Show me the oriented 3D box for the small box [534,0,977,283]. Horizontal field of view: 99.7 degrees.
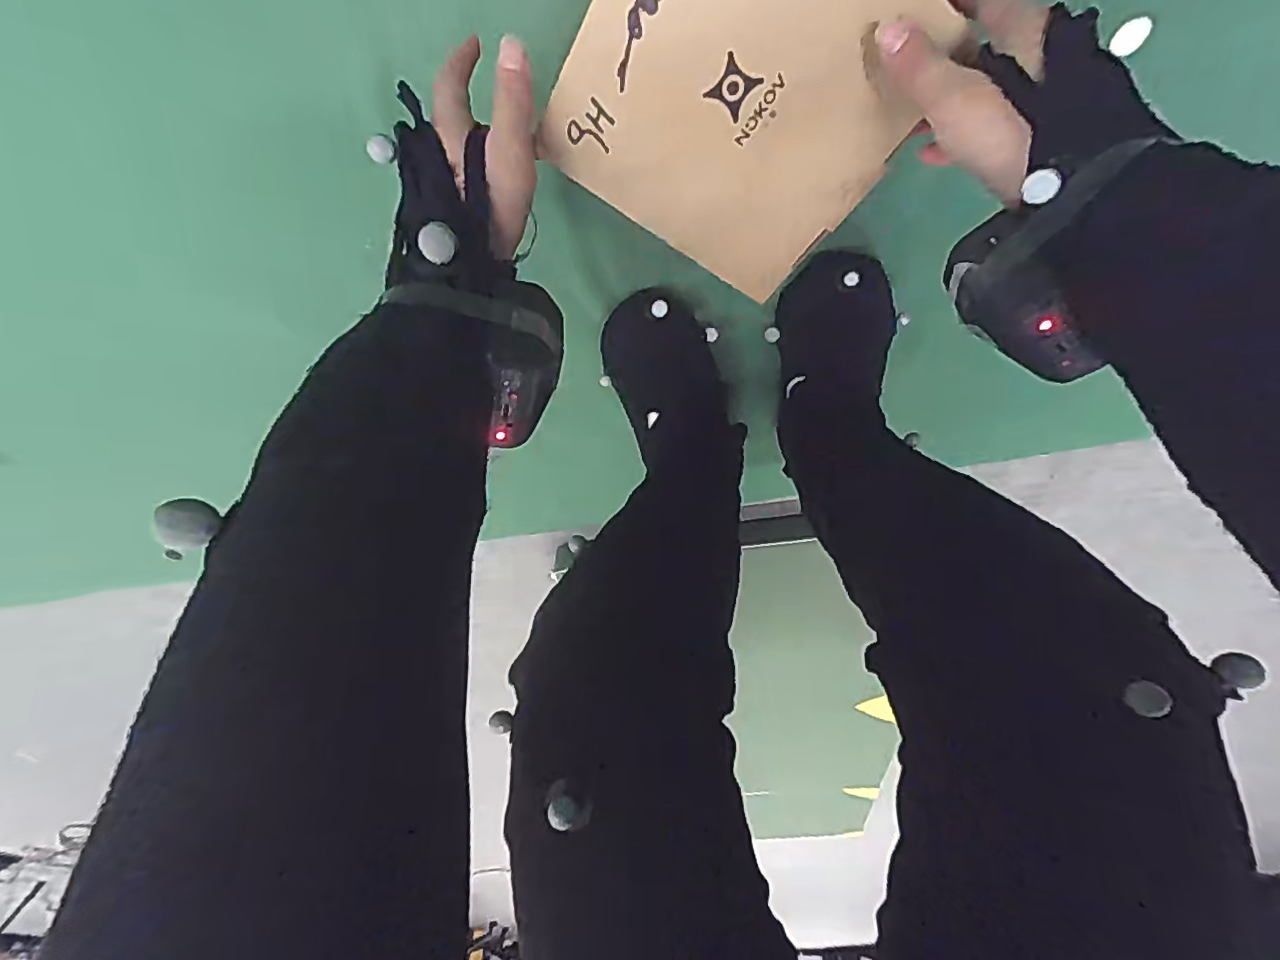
[{"bbox_3d":[0.057,-0.269,0.338,0.179,0.176,0.168,25,132,-25],"label":"small box"}]
